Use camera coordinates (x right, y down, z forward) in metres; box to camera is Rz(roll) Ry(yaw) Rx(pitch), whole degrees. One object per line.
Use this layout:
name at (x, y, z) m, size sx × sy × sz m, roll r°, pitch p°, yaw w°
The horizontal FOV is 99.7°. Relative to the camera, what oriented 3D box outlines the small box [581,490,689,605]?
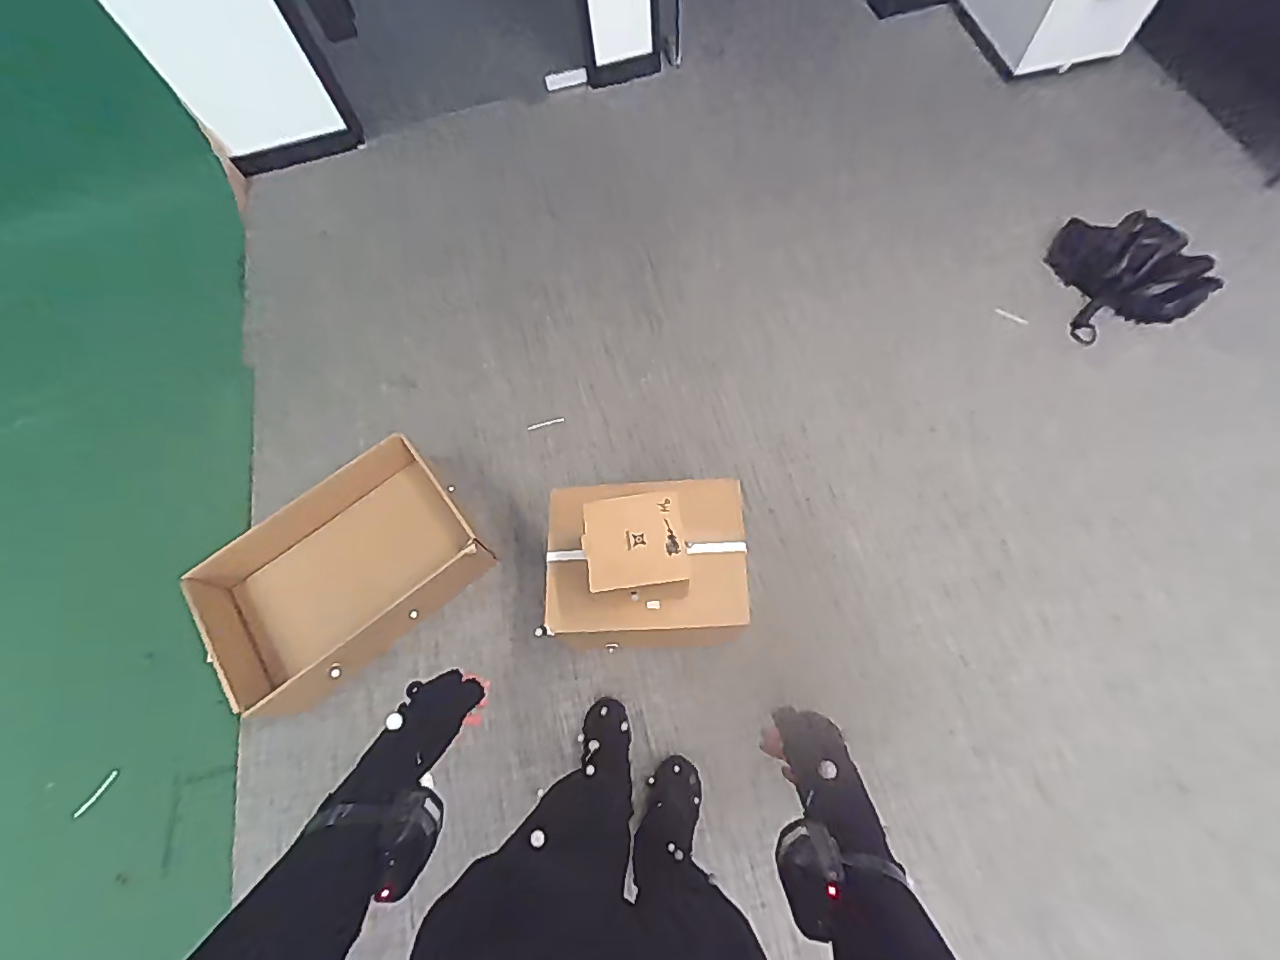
small box at (-0.005, 0.133, 1.015) m, size 0.179 × 0.176 × 0.168 m, roll -9°, pitch 68°, yaw 2°
